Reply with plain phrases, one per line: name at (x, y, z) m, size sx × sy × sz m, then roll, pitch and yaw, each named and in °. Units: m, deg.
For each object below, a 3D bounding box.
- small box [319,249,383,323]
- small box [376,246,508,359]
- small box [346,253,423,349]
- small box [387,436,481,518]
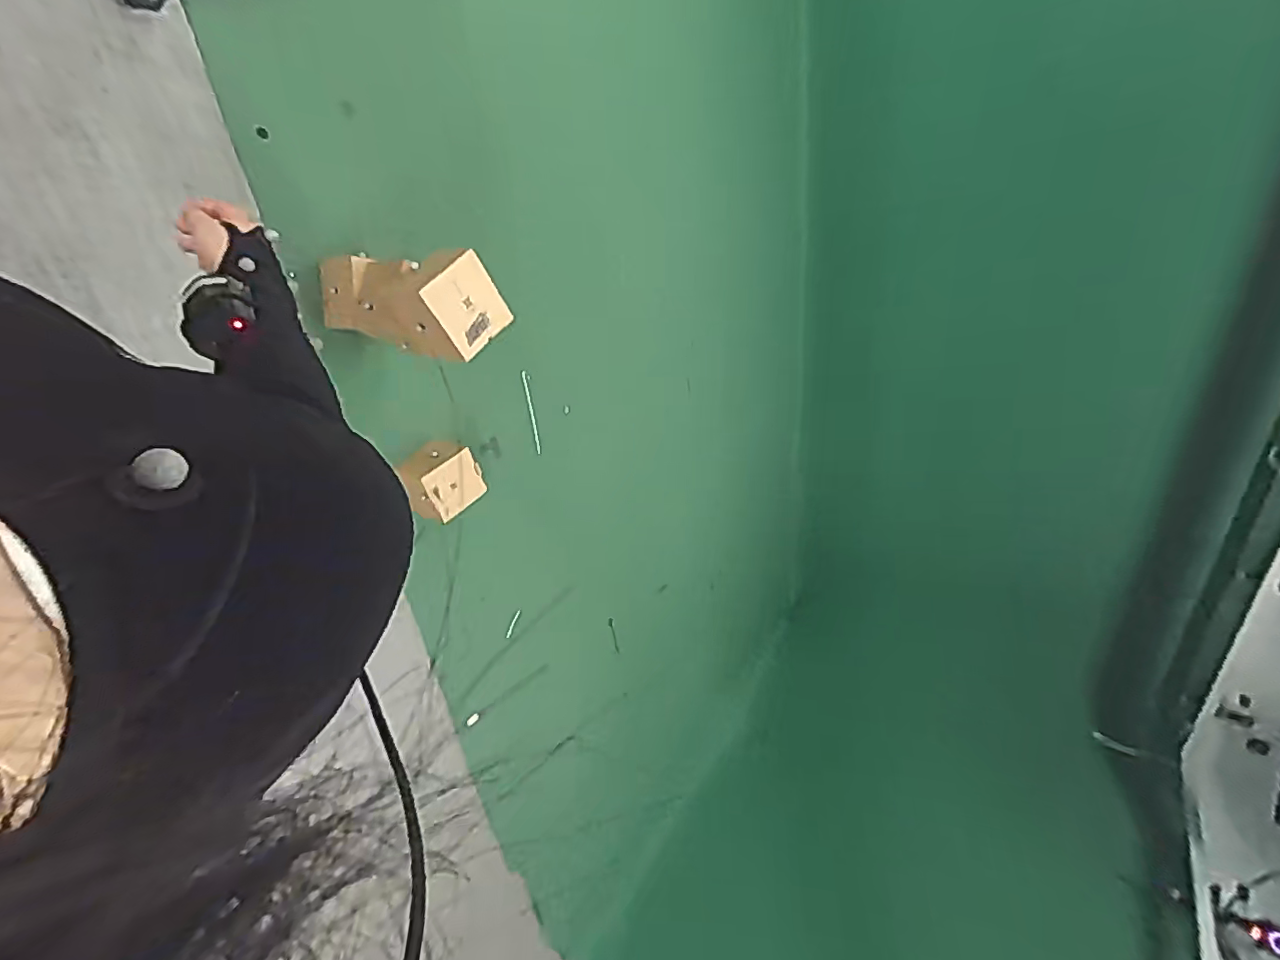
small box at (-0.691, -0.481, 1.372) m, size 0.179 × 0.176 × 0.168 m, roll -14°, pitch 113°, yaw -52°
small box at (-0.433, -0.393, 1.191) m, size 0.168 × 0.176 × 0.179 m, roll -54°, pitch 139°, yaw -26°
small box at (-0.563, -0.418, 1.289) m, size 0.179 × 0.176 × 0.168 m, roll 21°, pitch 86°, yaw -56°
small box at (-0.620, -0.017, 1.631) m, size 0.179 × 0.176 × 0.168 m, roll -45°, pitch 135°, yaw -38°
